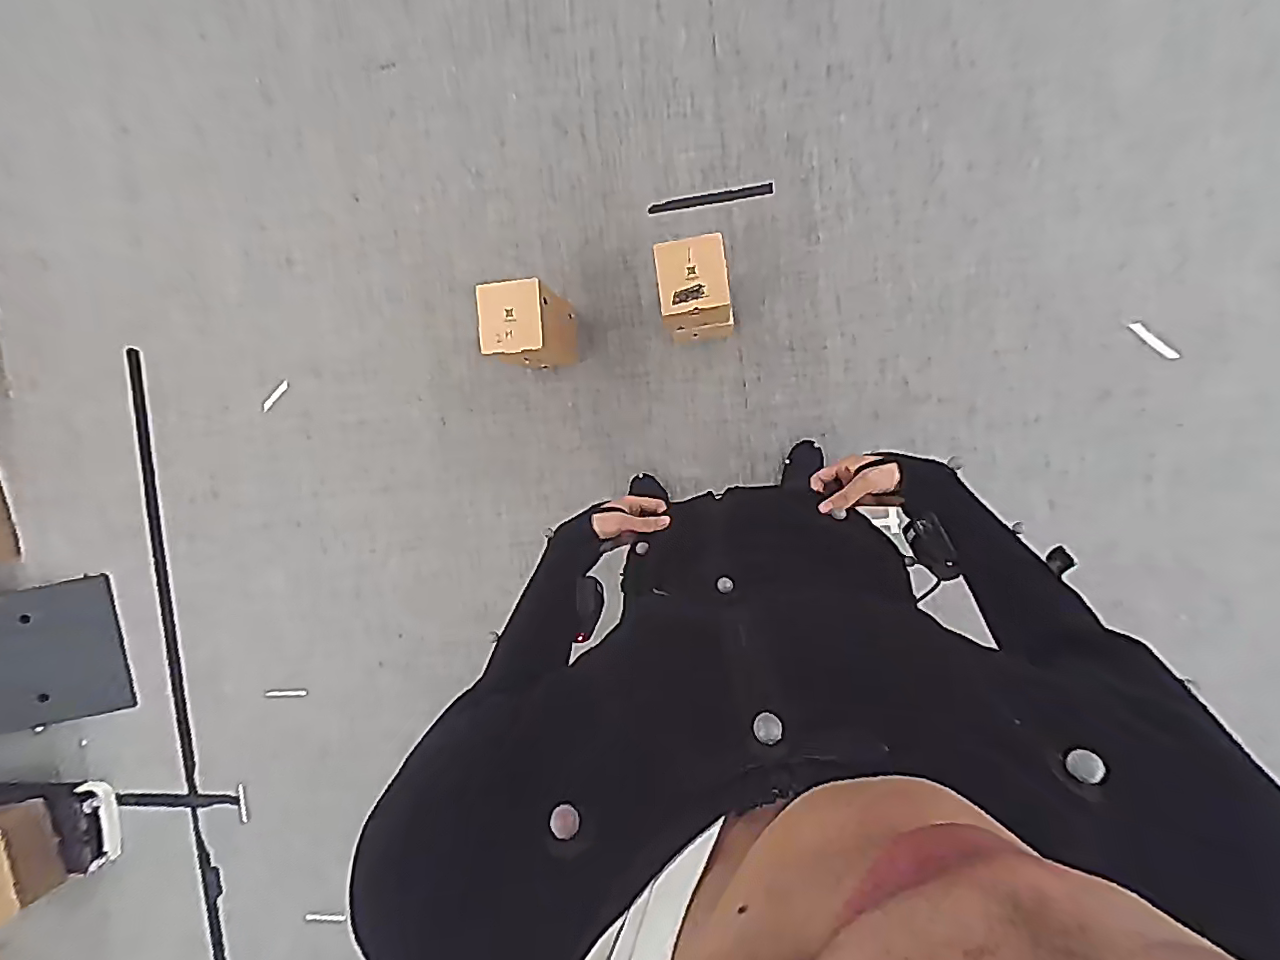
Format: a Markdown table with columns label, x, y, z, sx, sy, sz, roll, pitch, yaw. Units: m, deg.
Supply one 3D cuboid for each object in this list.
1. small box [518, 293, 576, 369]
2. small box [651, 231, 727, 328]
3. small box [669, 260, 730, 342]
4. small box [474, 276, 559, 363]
| label | x | y | z | sx | sy | sz | roll | pitch | yaw |
| --- | --- | --- | --- | --- | --- | --- | --- | --- | --- |
| small box | -0.288 | -0.427 | 1.573 | 0.168 | 0.176 | 0.179 | -3 | 93 | 9 |
| small box | 0.126 | -0.489 | 1.349 | 0.168 | 0.176 | 0.179 | -8 | 91 | 8 |
| small box | 0.160 | -0.493 | 1.511 | 0.168 | 0.176 | 0.179 | -8 | 91 | 8 |
| small box | -0.317 | -0.412 | 1.412 | 0.168 | 0.176 | 0.179 | -3 | 94 | 9 |
